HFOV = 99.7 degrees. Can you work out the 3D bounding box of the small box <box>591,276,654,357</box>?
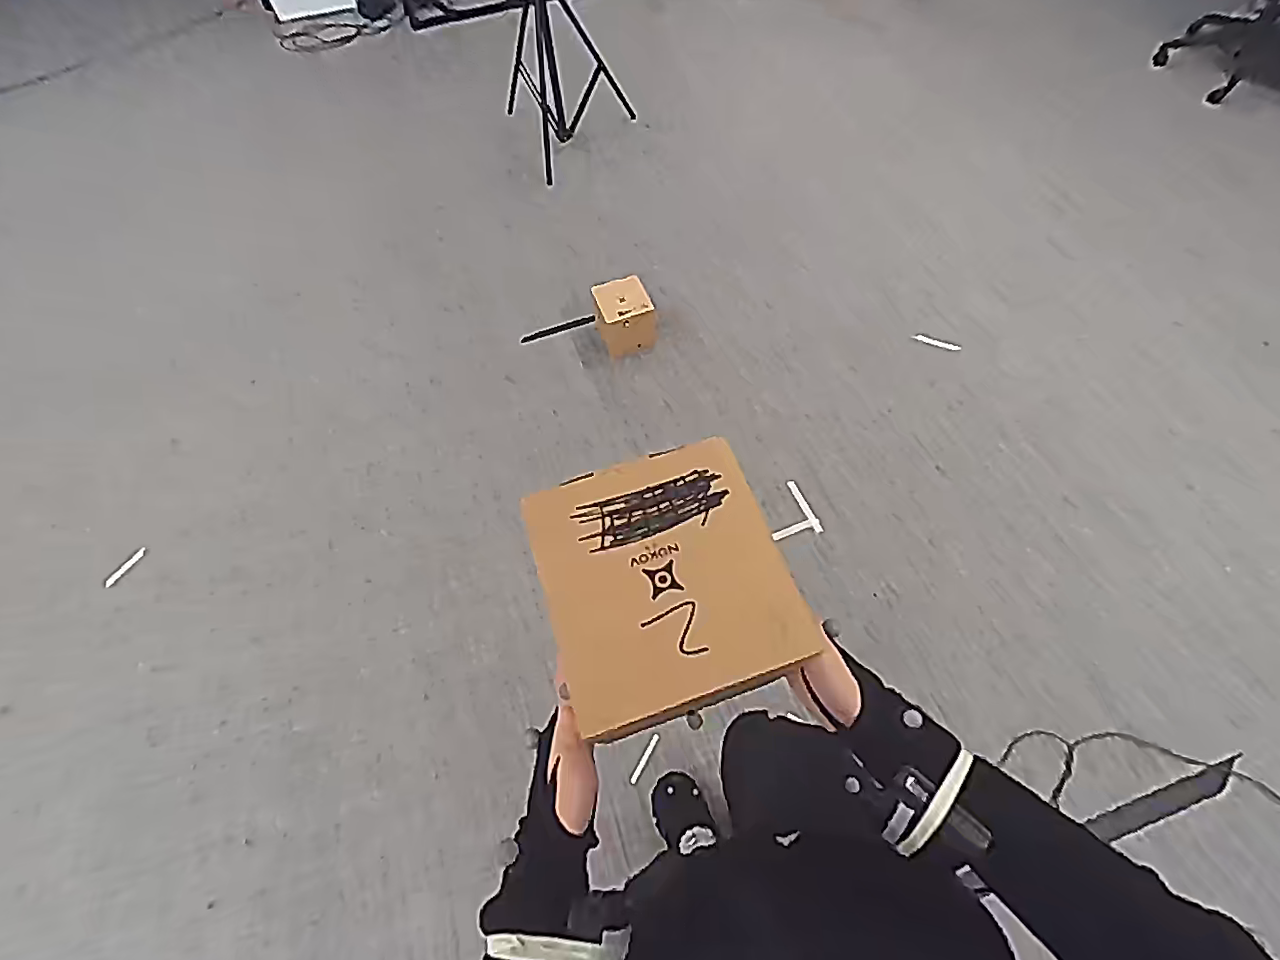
[{"bbox_3d":[-0.057,-0.551,1.830,0.168,0.176,0.179,-20,62,-8],"label":"small box"}]
